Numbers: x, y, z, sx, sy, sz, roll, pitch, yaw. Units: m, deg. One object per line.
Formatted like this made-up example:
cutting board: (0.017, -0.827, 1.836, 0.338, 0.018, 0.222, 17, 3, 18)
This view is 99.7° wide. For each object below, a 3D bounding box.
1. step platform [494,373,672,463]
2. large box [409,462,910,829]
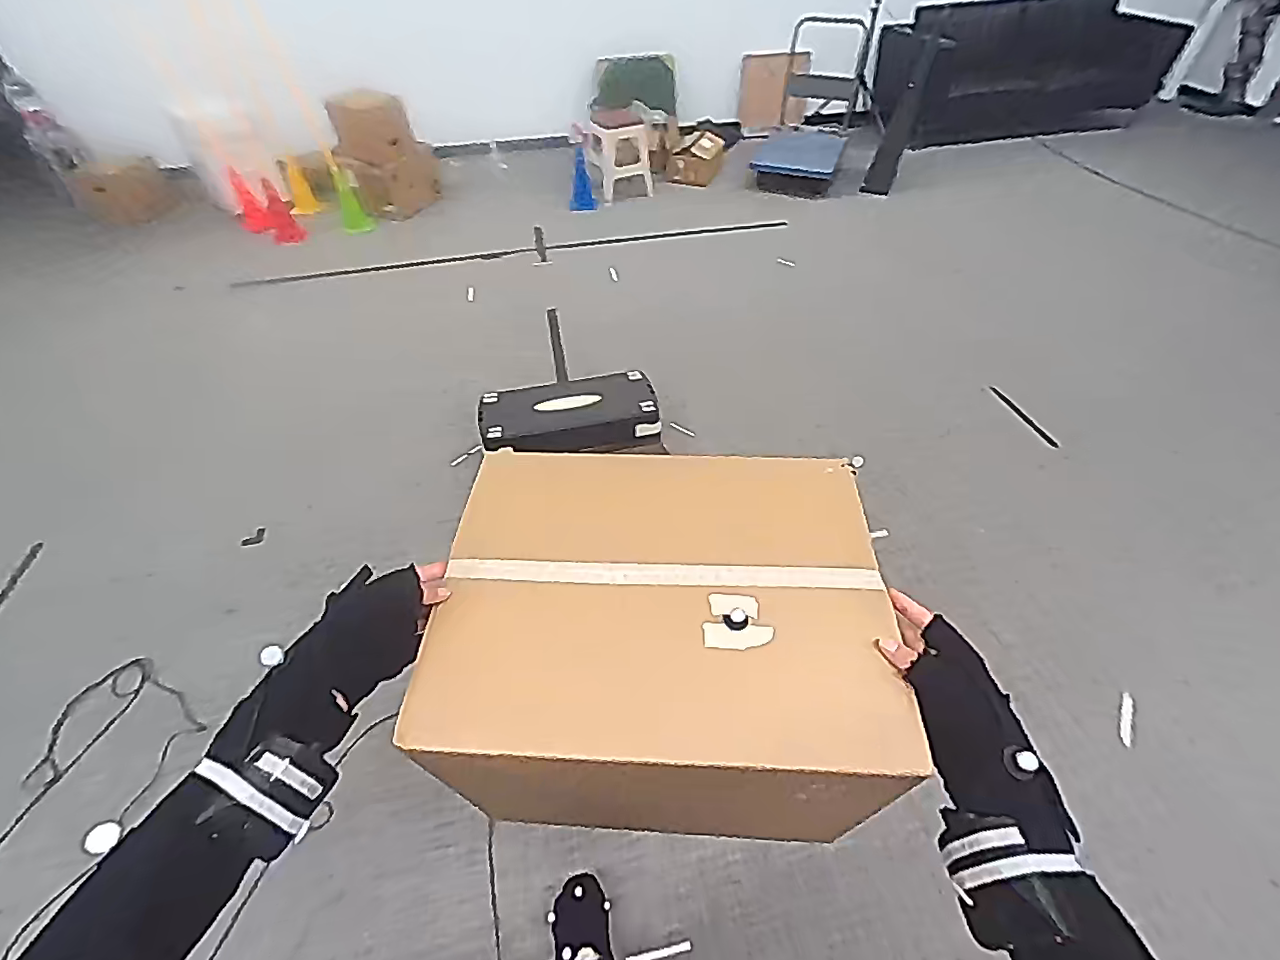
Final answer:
step platform: (-0.219, -0.226, 2.114, 0.684, 0.204, 0.286, -10, 48, -9)
large box: (0.019, 0.195, 0.630, 0.408, 0.320, 0.320, 1, 49, 3)
